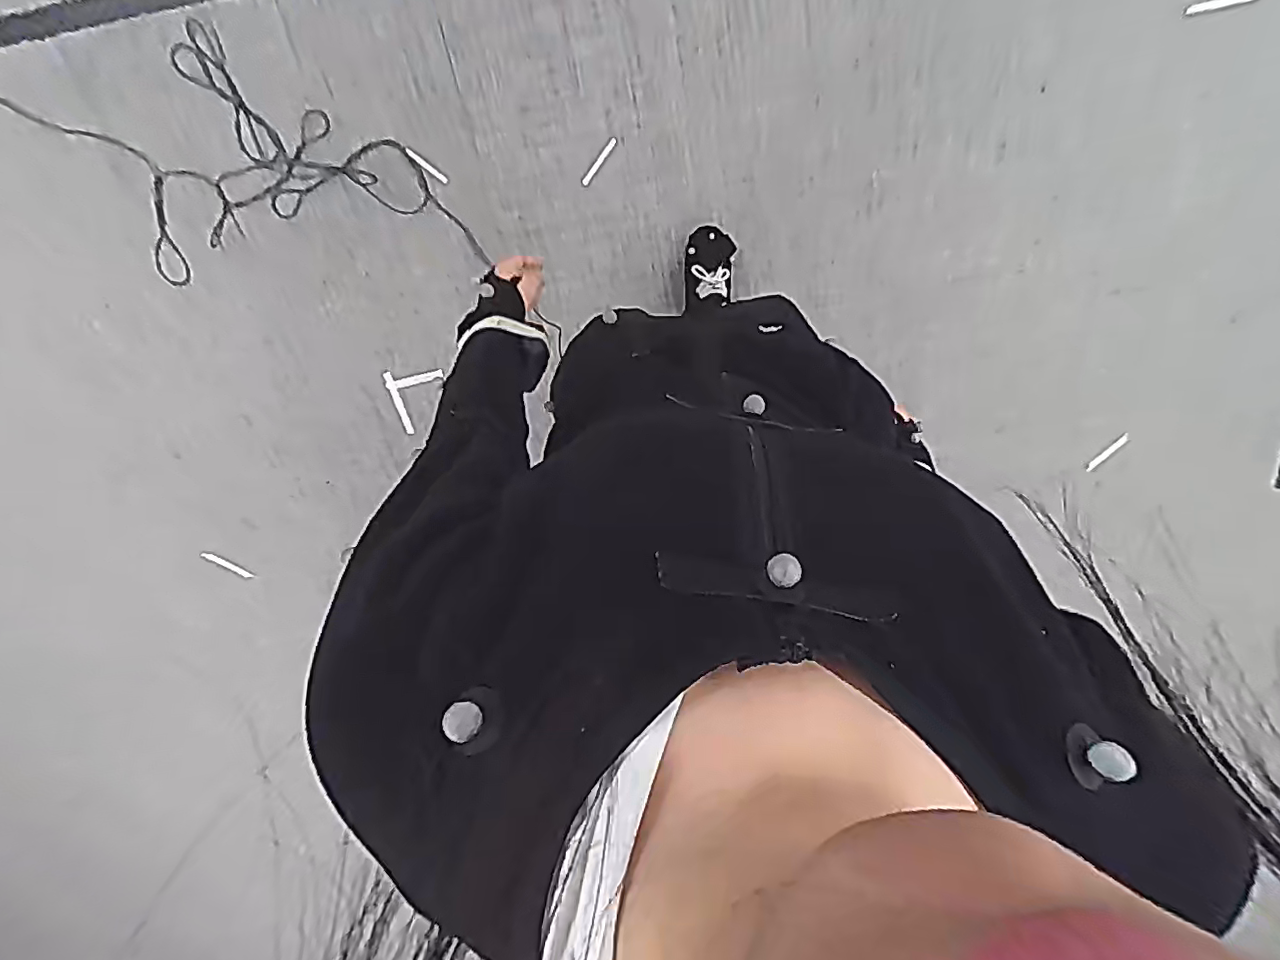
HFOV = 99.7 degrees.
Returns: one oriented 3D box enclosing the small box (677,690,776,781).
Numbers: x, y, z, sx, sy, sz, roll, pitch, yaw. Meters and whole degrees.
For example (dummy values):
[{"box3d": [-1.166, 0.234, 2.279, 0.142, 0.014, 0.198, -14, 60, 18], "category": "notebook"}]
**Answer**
[{"box3d": [0.162, 0.528, 1.049, 0.168, 0.176, 0.179, -5, 113, 2], "category": "small box"}]
